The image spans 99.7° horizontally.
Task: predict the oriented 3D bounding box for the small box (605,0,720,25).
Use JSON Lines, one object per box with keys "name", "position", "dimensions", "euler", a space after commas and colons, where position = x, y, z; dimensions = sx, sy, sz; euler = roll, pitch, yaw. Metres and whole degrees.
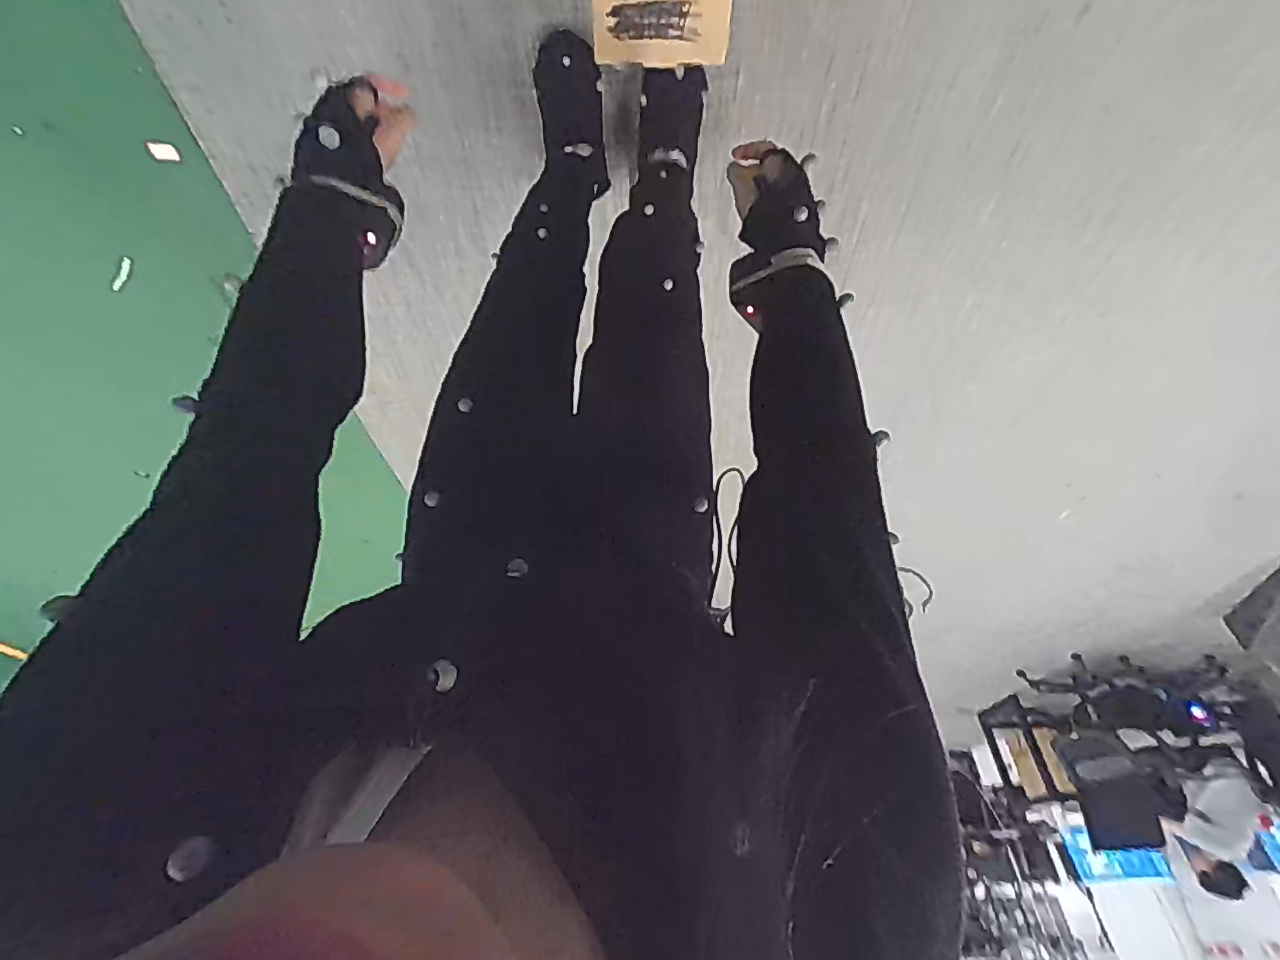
{"name": "small box", "position": [0.030, -0.775, 0.758], "dimensions": [0.168, 0.176, 0.179], "euler": [-1, 144, -1]}
